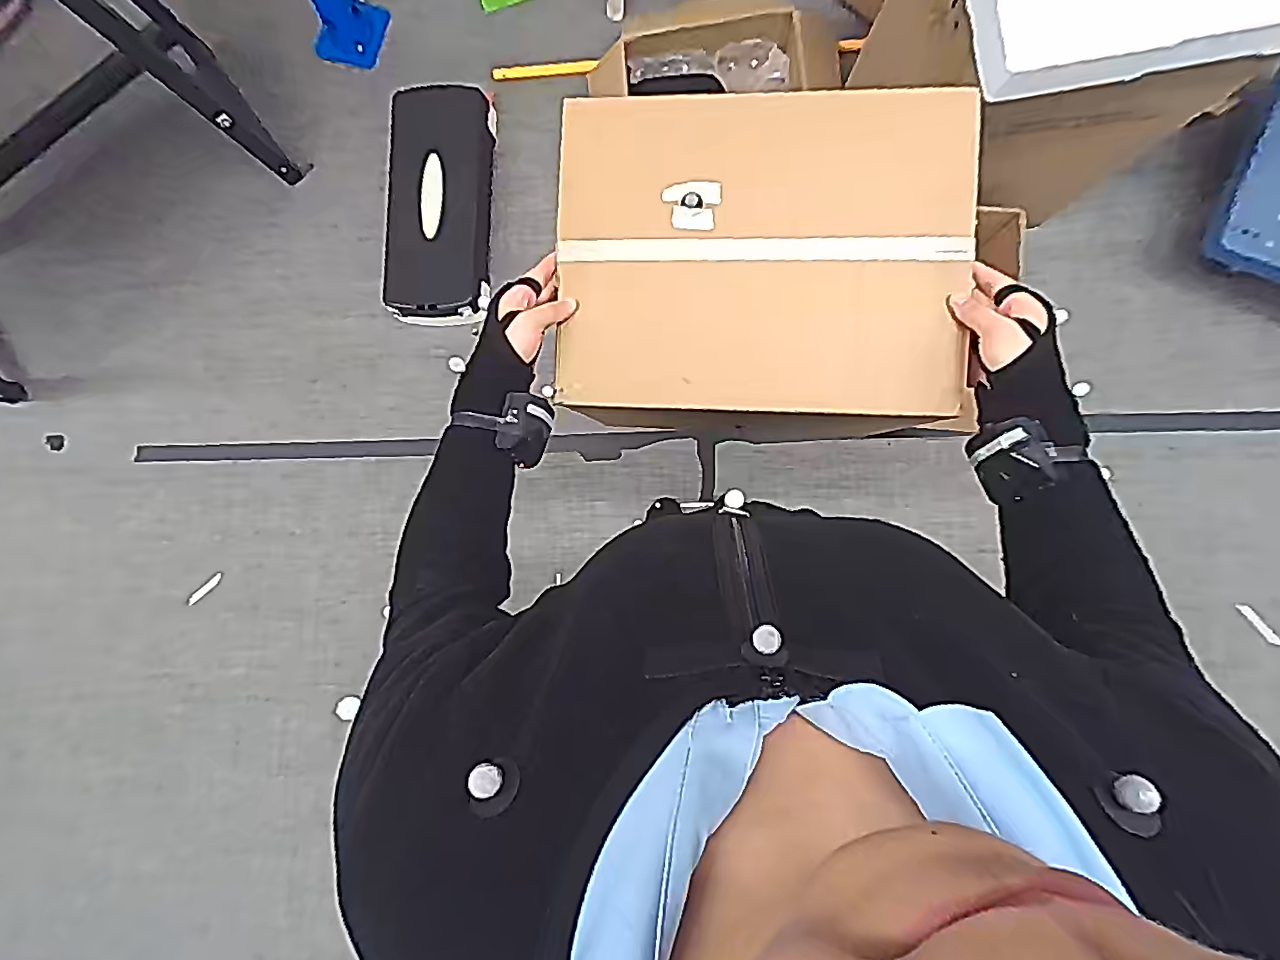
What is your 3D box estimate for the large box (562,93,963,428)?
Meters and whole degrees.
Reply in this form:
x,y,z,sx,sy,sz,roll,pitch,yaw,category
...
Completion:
x,y,z,sx,sy,sz,roll,pitch,yaw,category
0.135,-0.230,0.698,0.408,0.320,0.320,2,90,6,large box
